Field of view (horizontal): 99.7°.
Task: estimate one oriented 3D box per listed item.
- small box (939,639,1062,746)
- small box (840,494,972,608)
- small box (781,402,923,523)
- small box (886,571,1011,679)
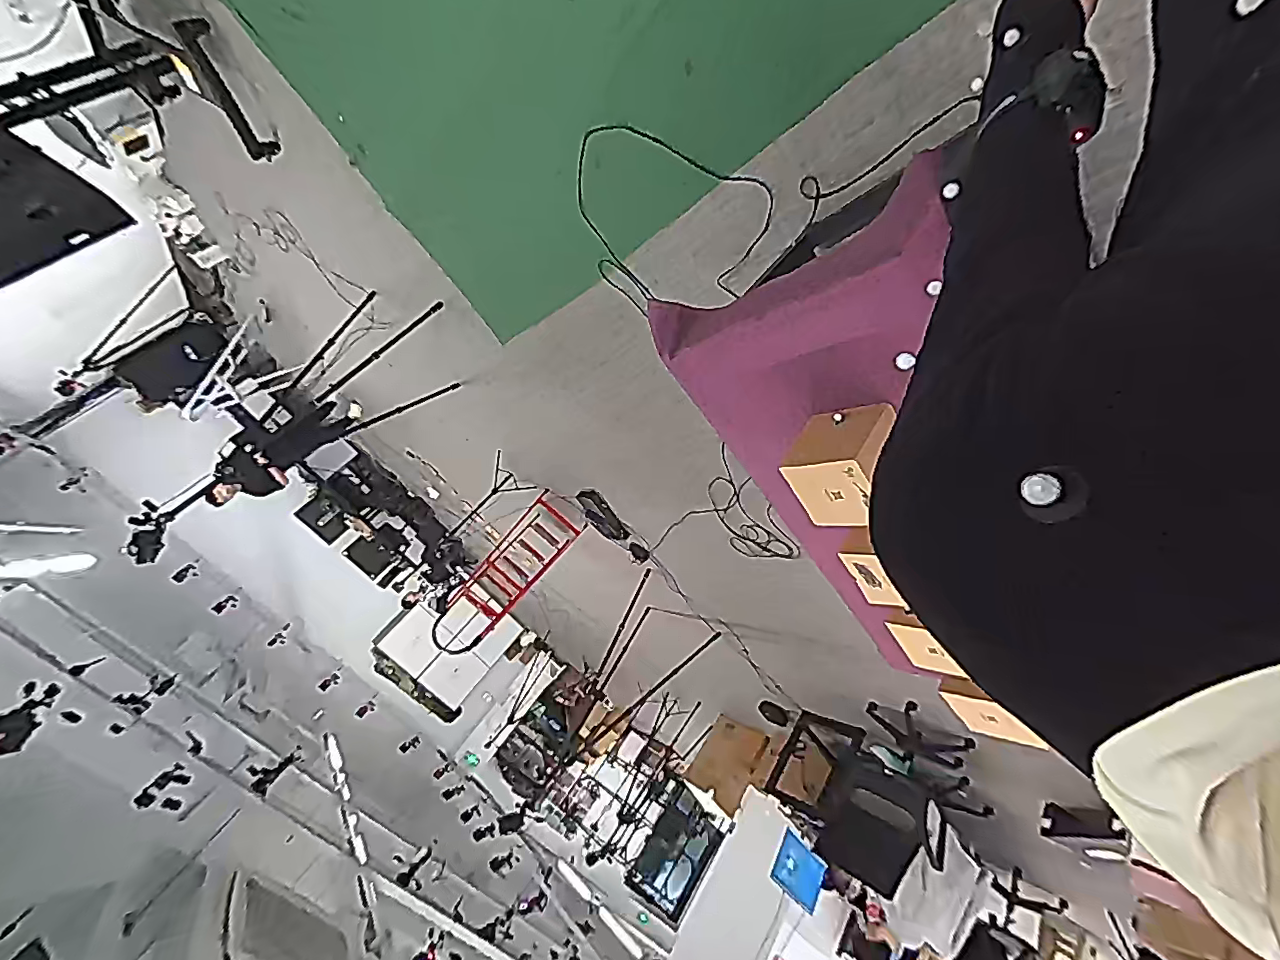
[{"bbox_3d":[0.867,0.495,1.300,0.168,0.176,0.179,48,152,-16],"label":"small box"},{"bbox_3d":[0.568,0.145,1.152,0.179,0.176,0.168,-6,128,54],"label":"small box"},{"bbox_3d":[0.420,-0.033,1.070,0.168,0.176,0.179,51,152,-21],"label":"small box"},{"bbox_3d":[0.706,0.317,1.234,0.168,0.176,0.179,51,151,-20],"label":"small box"}]
